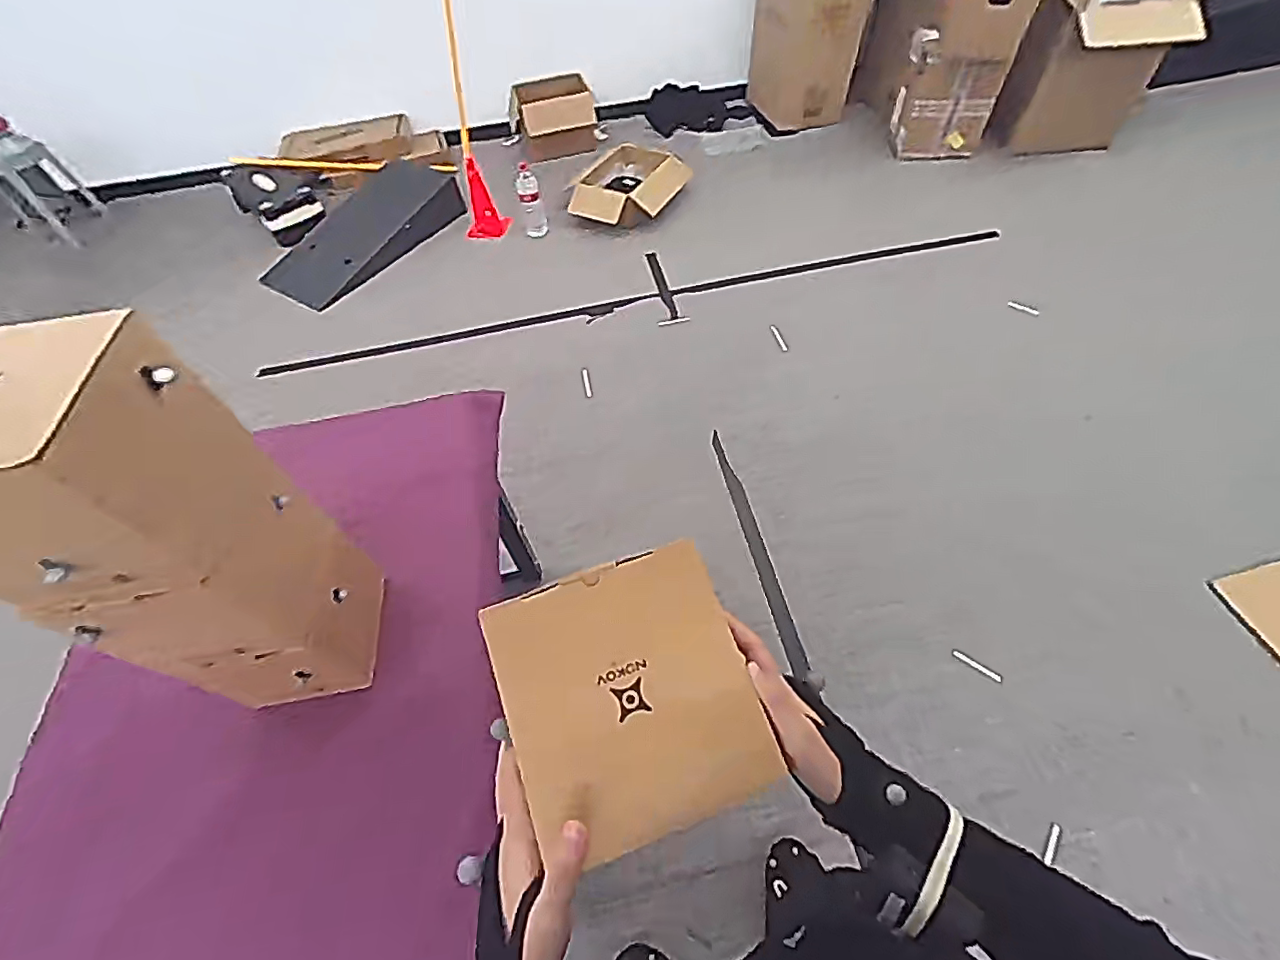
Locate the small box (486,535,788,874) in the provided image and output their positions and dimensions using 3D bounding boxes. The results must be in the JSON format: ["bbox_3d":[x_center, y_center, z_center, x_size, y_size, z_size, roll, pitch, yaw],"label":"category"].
[{"bbox_3d":[-0.008,0.171,0.442,0.168,0.176,0.179,-18,68,-10],"label":"small box"}]

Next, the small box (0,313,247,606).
[{"bbox_3d":[-0.491,-0.014,0.473,0.168,0.176,0.179,-11,54,-3],"label":"small box"}]

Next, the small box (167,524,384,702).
[{"bbox_3d":[-0.470,0.187,0.733,0.168,0.176,0.179,-10,53,-3],"label":"small box"}]
